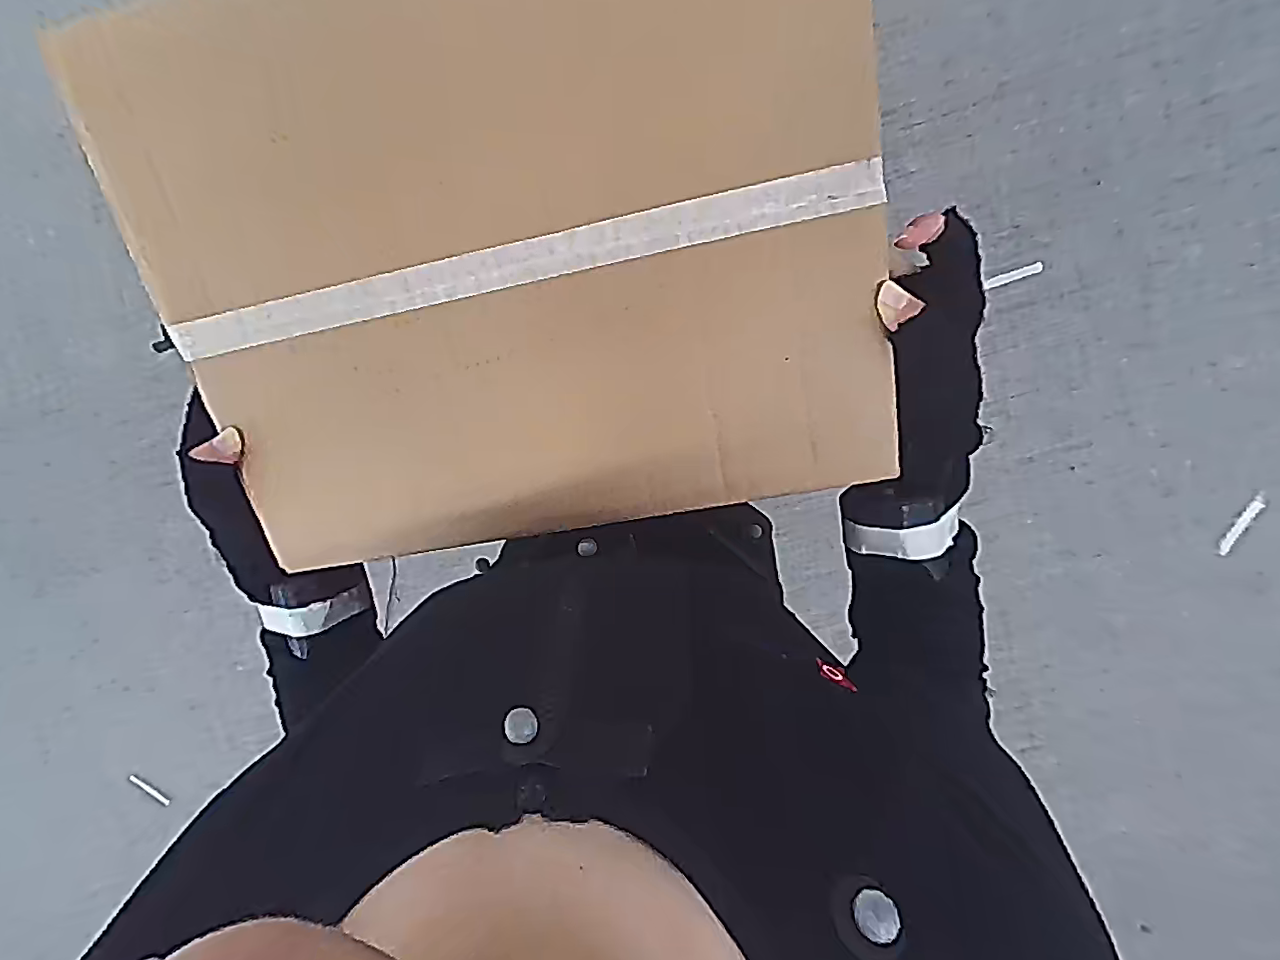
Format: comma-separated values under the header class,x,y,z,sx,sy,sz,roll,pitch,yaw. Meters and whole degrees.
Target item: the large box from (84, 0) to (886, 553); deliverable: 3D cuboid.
class,x,y,z,sx,sy,sz,roll,pitch,yaw
large box,-0.067,-0.172,0.446,0.408,0.320,0.320,-10,109,8
